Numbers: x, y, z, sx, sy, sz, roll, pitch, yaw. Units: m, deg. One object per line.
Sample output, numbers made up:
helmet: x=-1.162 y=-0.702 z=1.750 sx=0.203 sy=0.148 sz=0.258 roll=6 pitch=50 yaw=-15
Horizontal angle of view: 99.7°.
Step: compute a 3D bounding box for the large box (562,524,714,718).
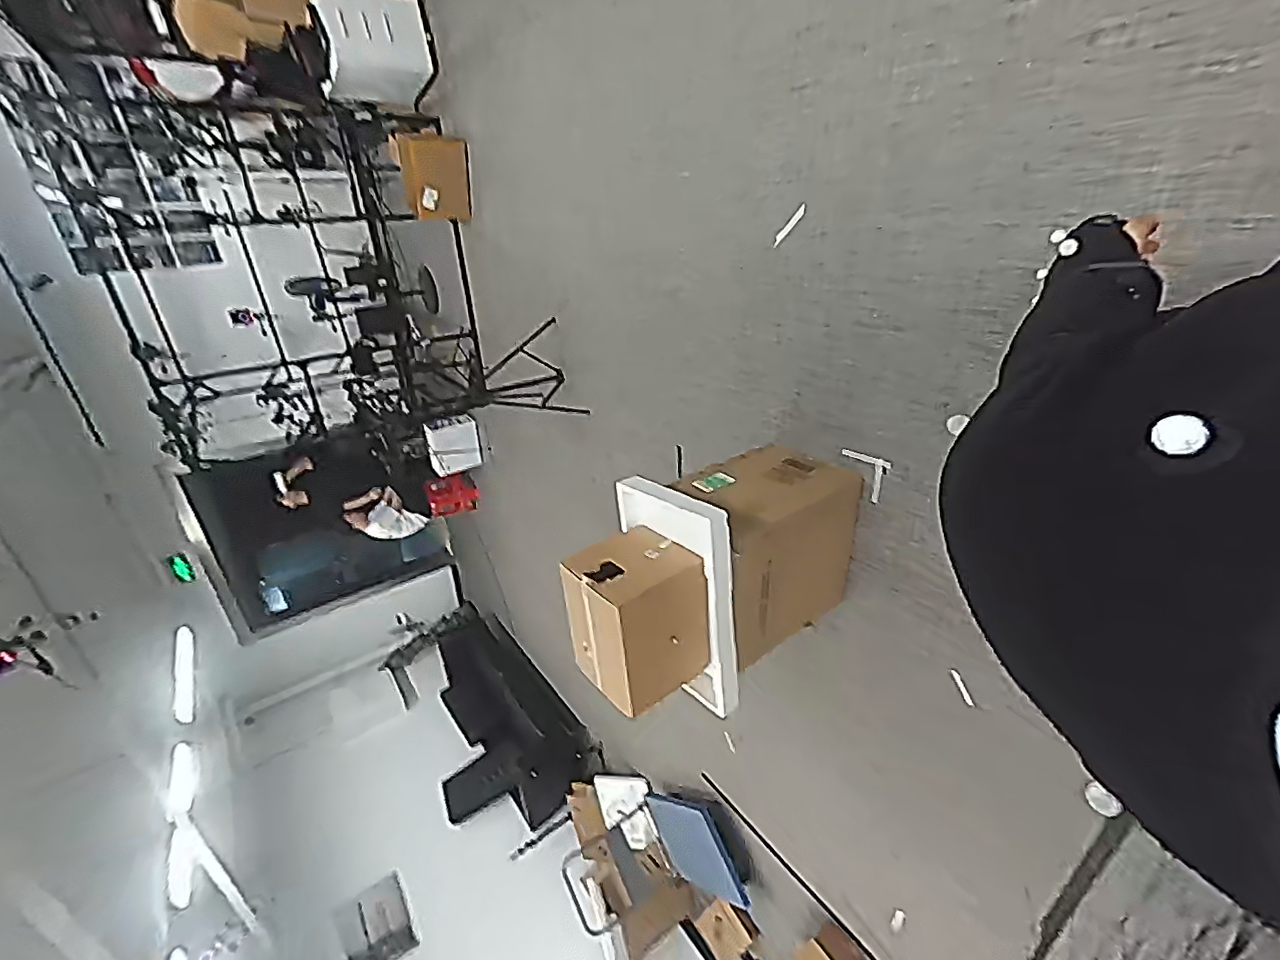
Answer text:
large box: x=0.002 y=0.402 z=1.625 sx=0.320 sy=0.320 sz=0.408 roll=26 pitch=130 yaw=50
